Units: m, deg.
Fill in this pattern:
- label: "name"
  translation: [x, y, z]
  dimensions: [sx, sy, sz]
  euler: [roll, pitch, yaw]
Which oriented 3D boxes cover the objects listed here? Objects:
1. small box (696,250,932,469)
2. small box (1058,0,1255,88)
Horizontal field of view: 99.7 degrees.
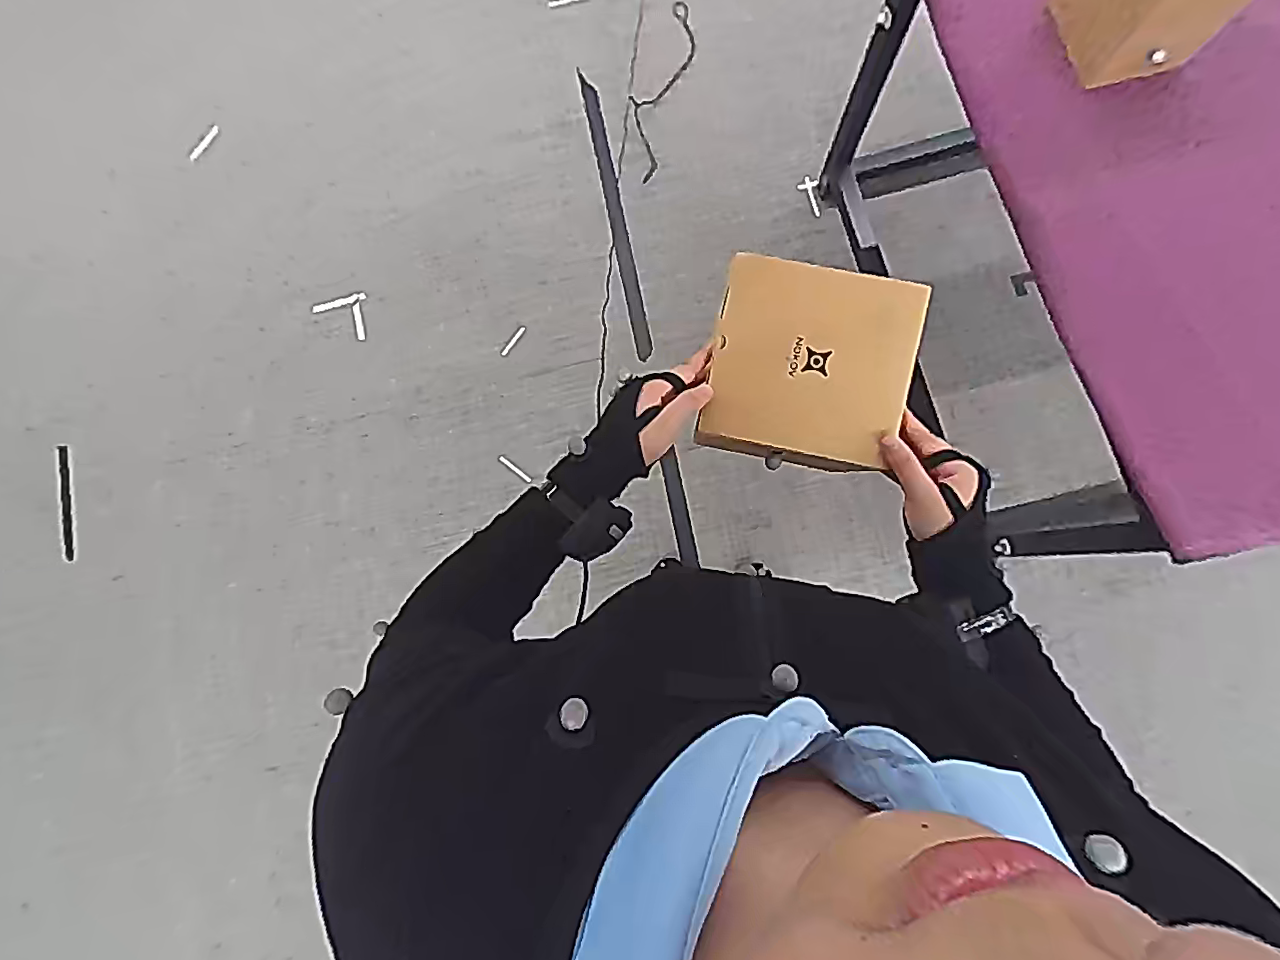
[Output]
- label: "small box"
  translation: [0.159, -0.110, 0.555]
  dimensions: [0.179, 0.176, 0.168]
  euler: [12, 92, 5]
- label: "small box"
  translation: [0.779, -0.742, 0.808]
  dimensions: [0.168, 0.176, 0.179]
  euler: [-13, 81, 2]
